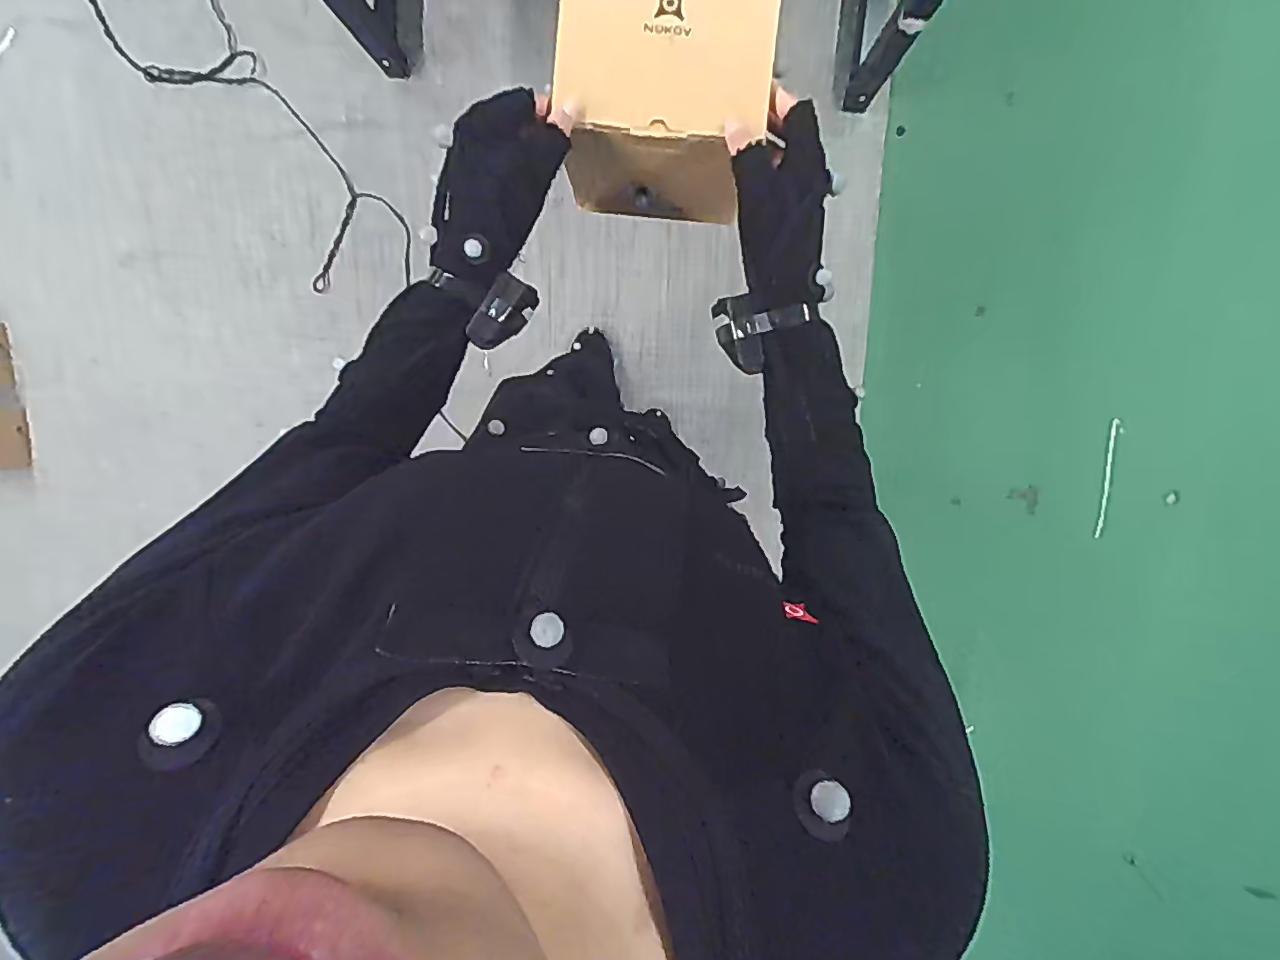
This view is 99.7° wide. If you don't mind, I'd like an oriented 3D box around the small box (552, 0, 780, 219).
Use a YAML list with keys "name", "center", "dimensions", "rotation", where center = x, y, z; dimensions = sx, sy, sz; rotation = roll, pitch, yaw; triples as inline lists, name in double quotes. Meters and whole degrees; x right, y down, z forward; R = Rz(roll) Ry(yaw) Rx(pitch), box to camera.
- name: "small box"
  center: [0.022, -0.360, 0.482]
  dimensions: [0.168, 0.176, 0.179]
  rotation: [5, 96, 0]

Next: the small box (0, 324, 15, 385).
- name: "small box"
  center: [-1.793, -0.329, 1.389]
  dimensions: [0.179, 0.176, 0.168]
  rotation: [1, 100, 1]
